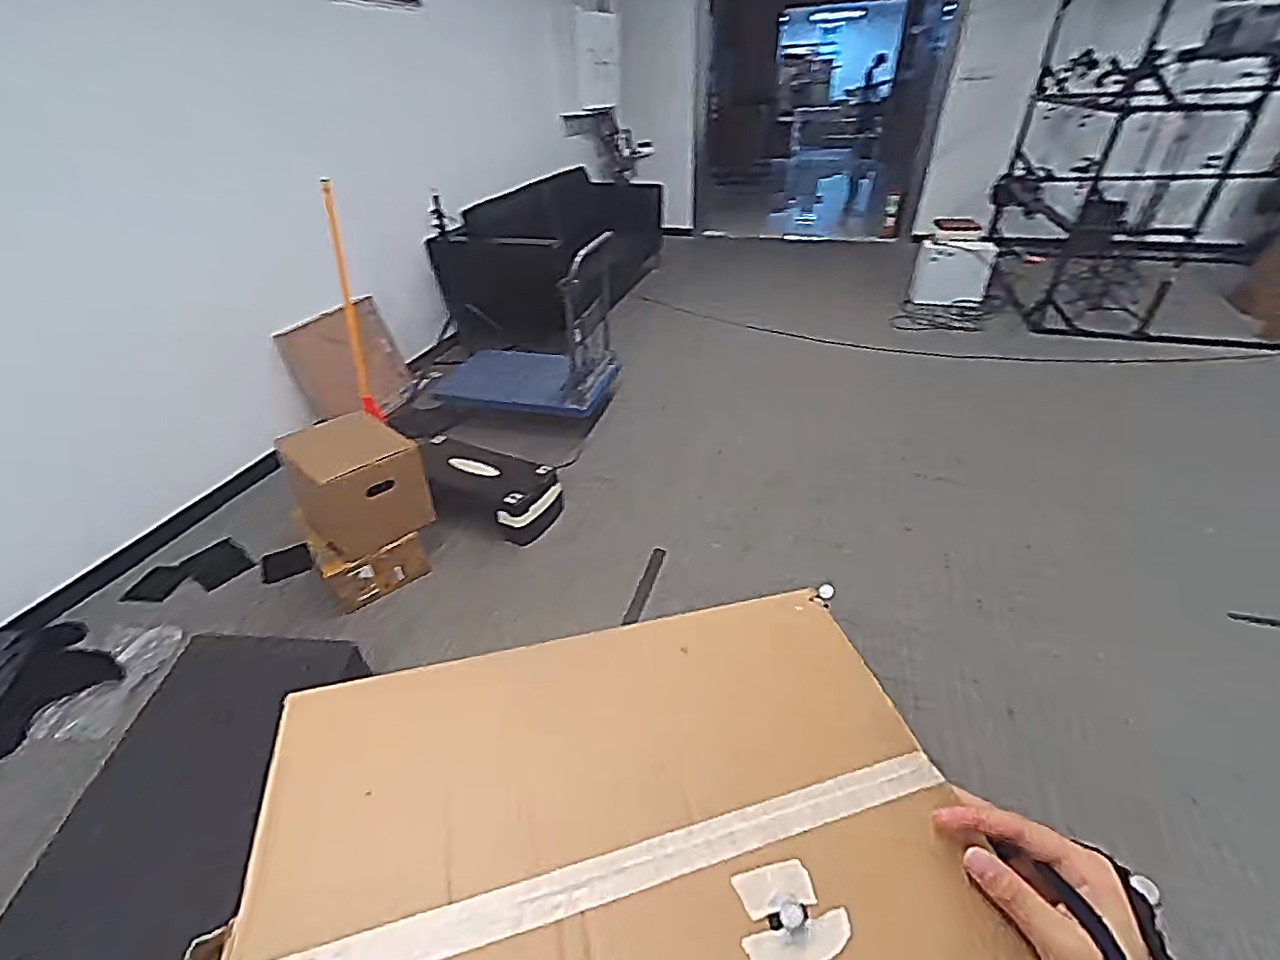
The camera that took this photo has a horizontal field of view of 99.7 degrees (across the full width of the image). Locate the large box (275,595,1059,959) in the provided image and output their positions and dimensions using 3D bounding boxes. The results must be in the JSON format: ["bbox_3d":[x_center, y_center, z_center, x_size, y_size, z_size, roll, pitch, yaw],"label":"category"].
[{"bbox_3d":[-0.005,0.334,0.407,0.408,0.320,0.320,-6,42,-16],"label":"large box"}]
